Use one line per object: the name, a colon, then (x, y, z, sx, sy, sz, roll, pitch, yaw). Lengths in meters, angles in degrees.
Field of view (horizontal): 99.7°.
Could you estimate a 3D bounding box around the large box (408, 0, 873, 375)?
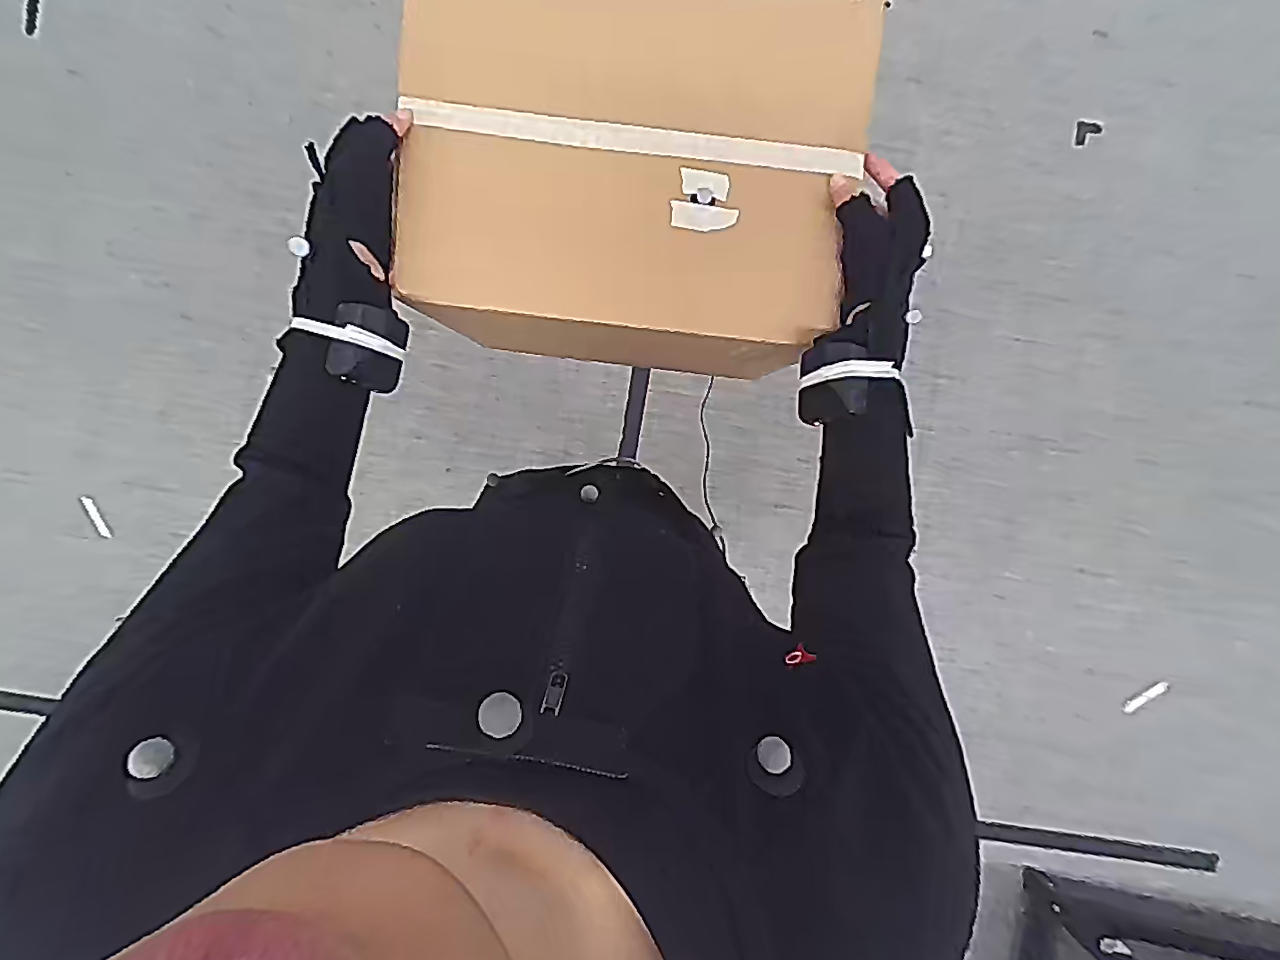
large box: (-0.008, -0.311, 0.636, 0.408, 0.320, 0.320, 6, 96, -2)
